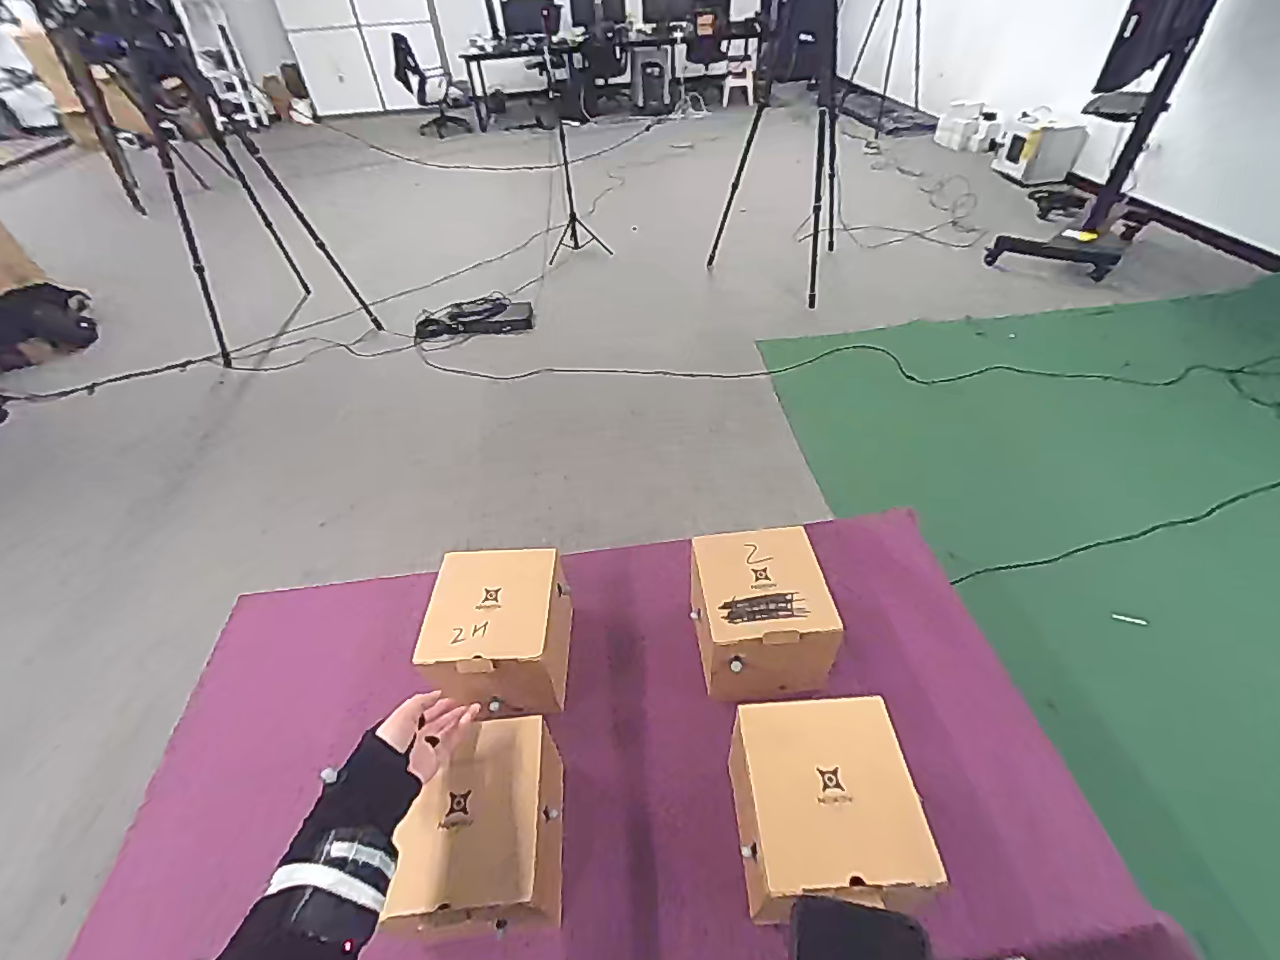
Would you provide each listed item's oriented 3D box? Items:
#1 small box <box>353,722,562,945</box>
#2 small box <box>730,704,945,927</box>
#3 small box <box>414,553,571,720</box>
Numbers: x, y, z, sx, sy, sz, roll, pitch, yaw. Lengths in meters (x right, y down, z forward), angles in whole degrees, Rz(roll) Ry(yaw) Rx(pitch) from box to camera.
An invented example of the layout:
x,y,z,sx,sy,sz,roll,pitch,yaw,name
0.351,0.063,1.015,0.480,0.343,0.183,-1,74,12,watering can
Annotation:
x,y,z,sx,sy,sz,roll,pitch,yaw,name
-0.182,0.398,0.607,0.168,0.176,0.179,-4,43,-1,small box
0.196,0.372,0.602,0.168,0.176,0.179,-3,44,1,small box
-0.197,0.226,0.783,0.168,0.176,0.179,-2,44,3,small box
